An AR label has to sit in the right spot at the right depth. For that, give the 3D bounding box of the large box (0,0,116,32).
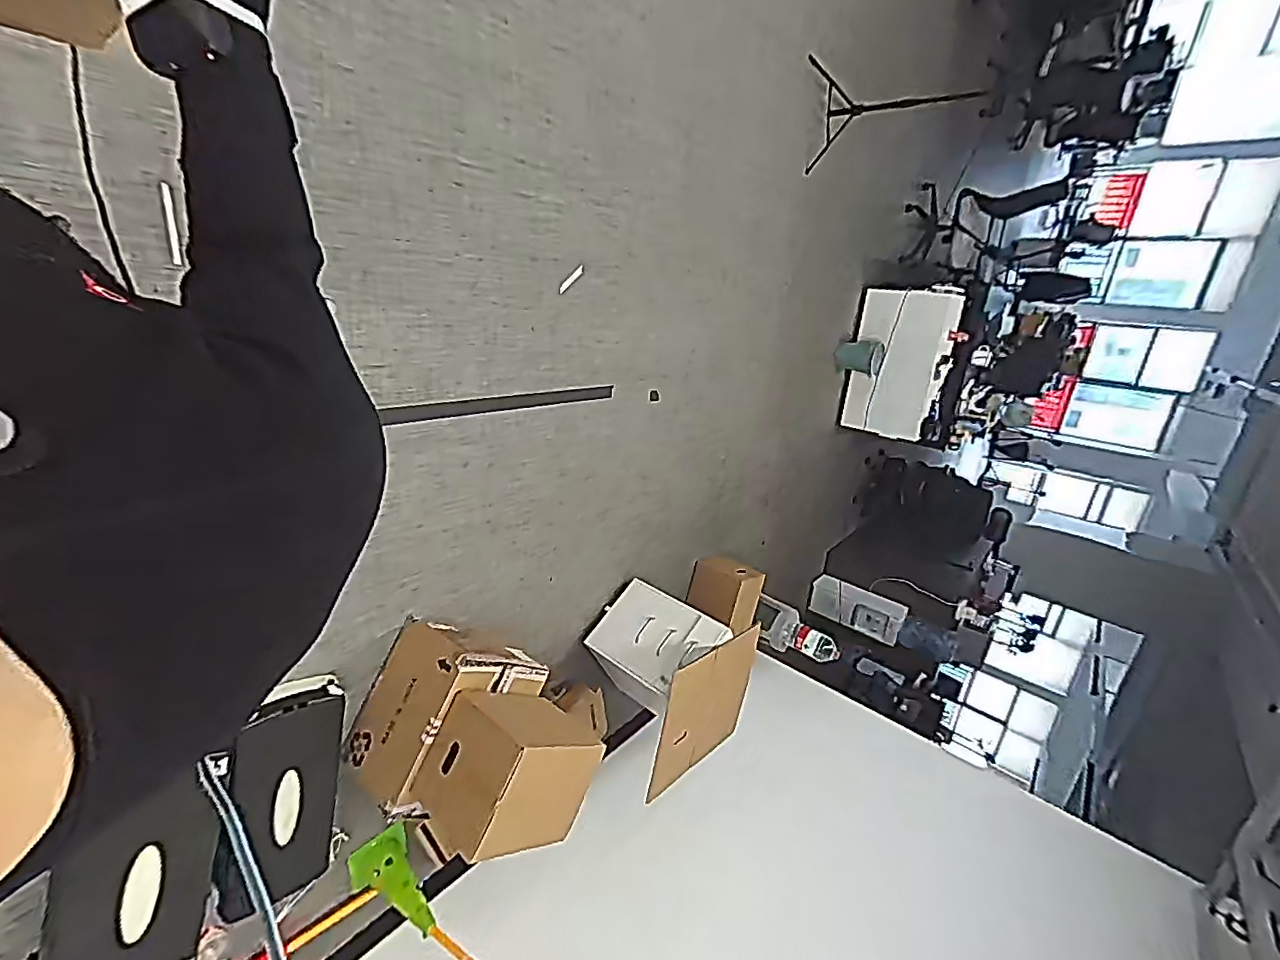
[{"bbox_3d":[-0.560,-0.493,0.260,0.408,0.320,0.320,-21,124,-47],"label":"large box"}]
